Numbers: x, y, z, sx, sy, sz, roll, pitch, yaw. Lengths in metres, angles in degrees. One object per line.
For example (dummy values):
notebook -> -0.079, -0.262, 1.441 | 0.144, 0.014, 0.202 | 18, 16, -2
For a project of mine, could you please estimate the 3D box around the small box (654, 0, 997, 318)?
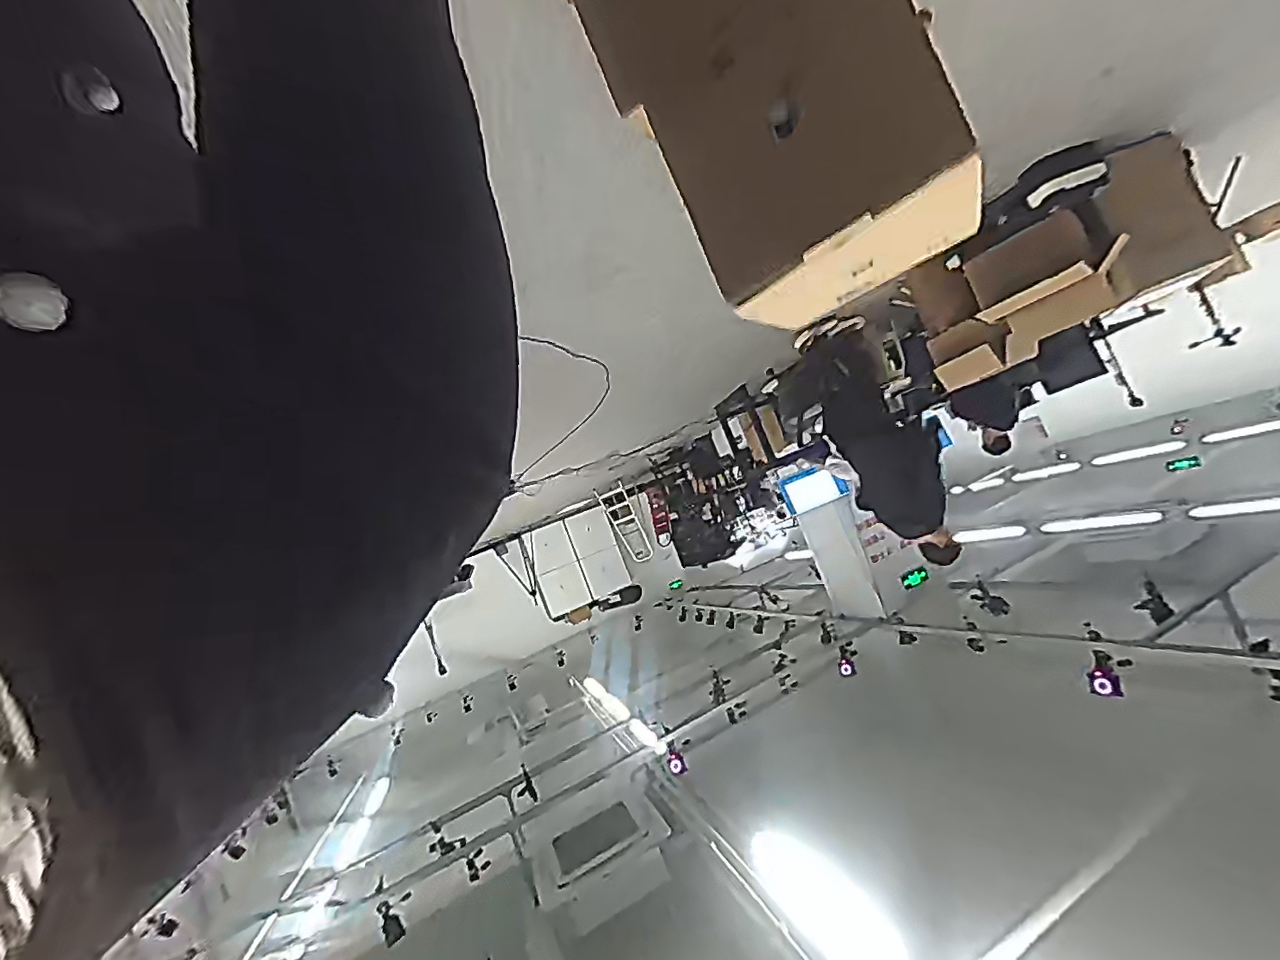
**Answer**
small box -> 0.139, -0.246, 0.407 | 0.168, 0.176, 0.179 | -28, 174, 36

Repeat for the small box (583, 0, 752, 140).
small box -> 0.065, -0.389, 0.421 | 0.179, 0.176, 0.168 | -26, 175, 35
